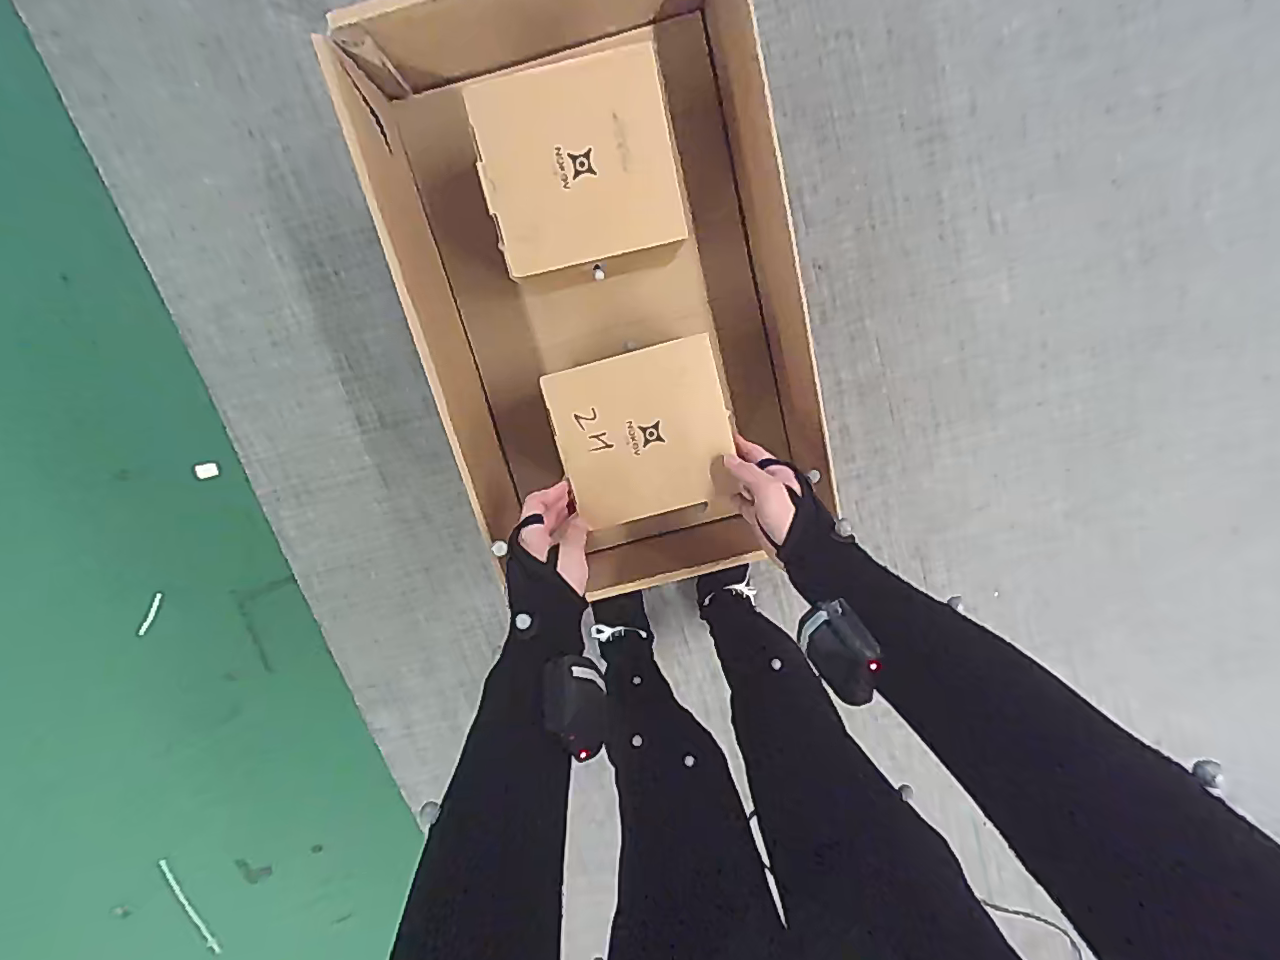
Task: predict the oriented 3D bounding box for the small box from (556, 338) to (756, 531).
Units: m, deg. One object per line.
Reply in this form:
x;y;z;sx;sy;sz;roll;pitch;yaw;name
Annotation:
0.017;-0.056;0.619;0.179;0.176;0.168;-13;98;2;small box

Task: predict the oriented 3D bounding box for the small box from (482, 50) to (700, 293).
-0.044;-0.303;0.572;0.179;0.176;0.168;-12;104;0;small box
